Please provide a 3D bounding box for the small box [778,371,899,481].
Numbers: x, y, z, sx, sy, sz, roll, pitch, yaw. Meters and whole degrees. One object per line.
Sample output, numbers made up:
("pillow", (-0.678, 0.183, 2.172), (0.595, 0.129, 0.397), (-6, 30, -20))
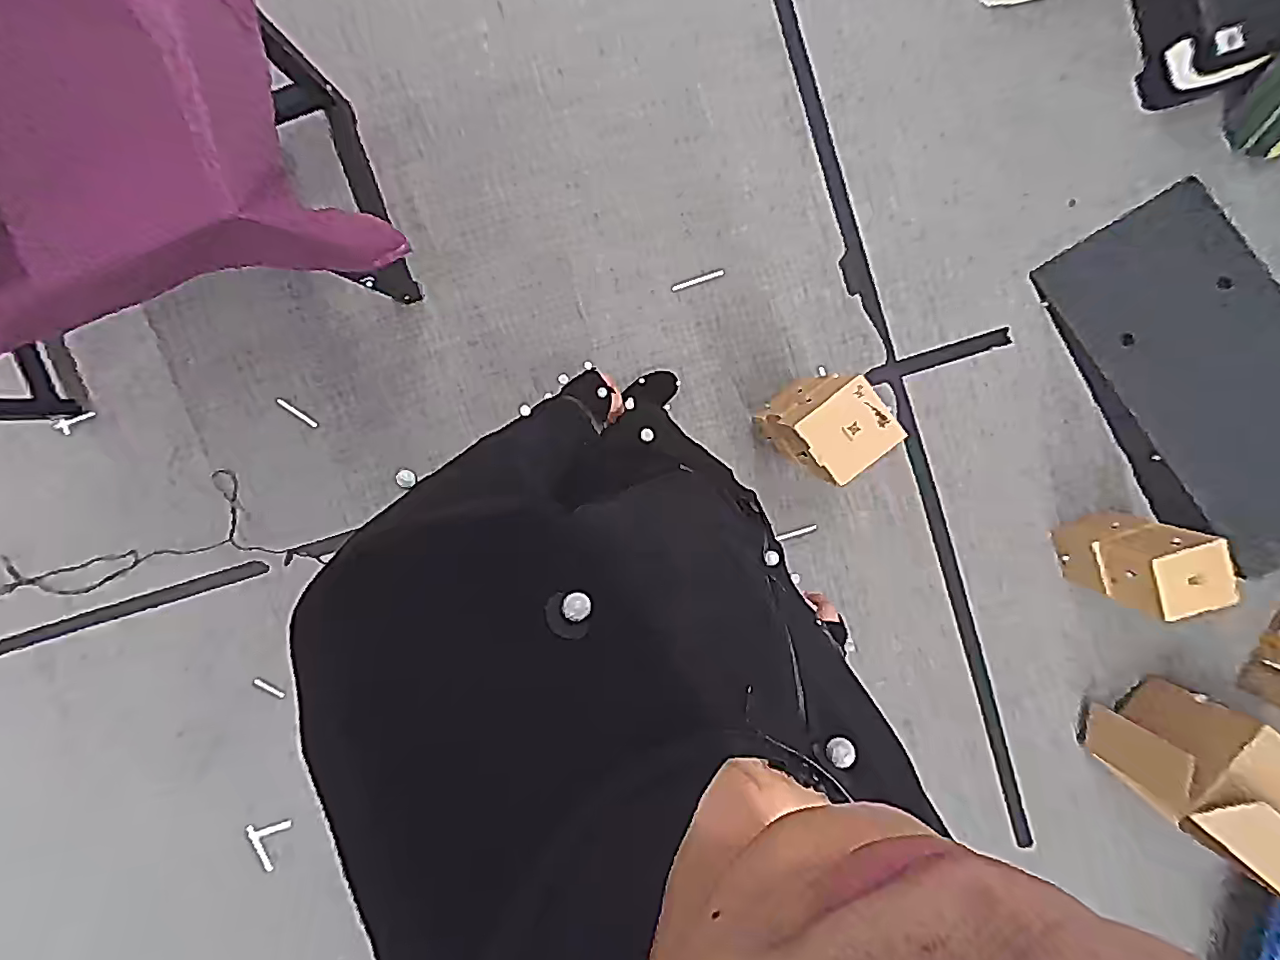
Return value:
("small box", (0.426, -0.120, 1.200), (0.179, 0.176, 0.168), (-38, 96, 6))
